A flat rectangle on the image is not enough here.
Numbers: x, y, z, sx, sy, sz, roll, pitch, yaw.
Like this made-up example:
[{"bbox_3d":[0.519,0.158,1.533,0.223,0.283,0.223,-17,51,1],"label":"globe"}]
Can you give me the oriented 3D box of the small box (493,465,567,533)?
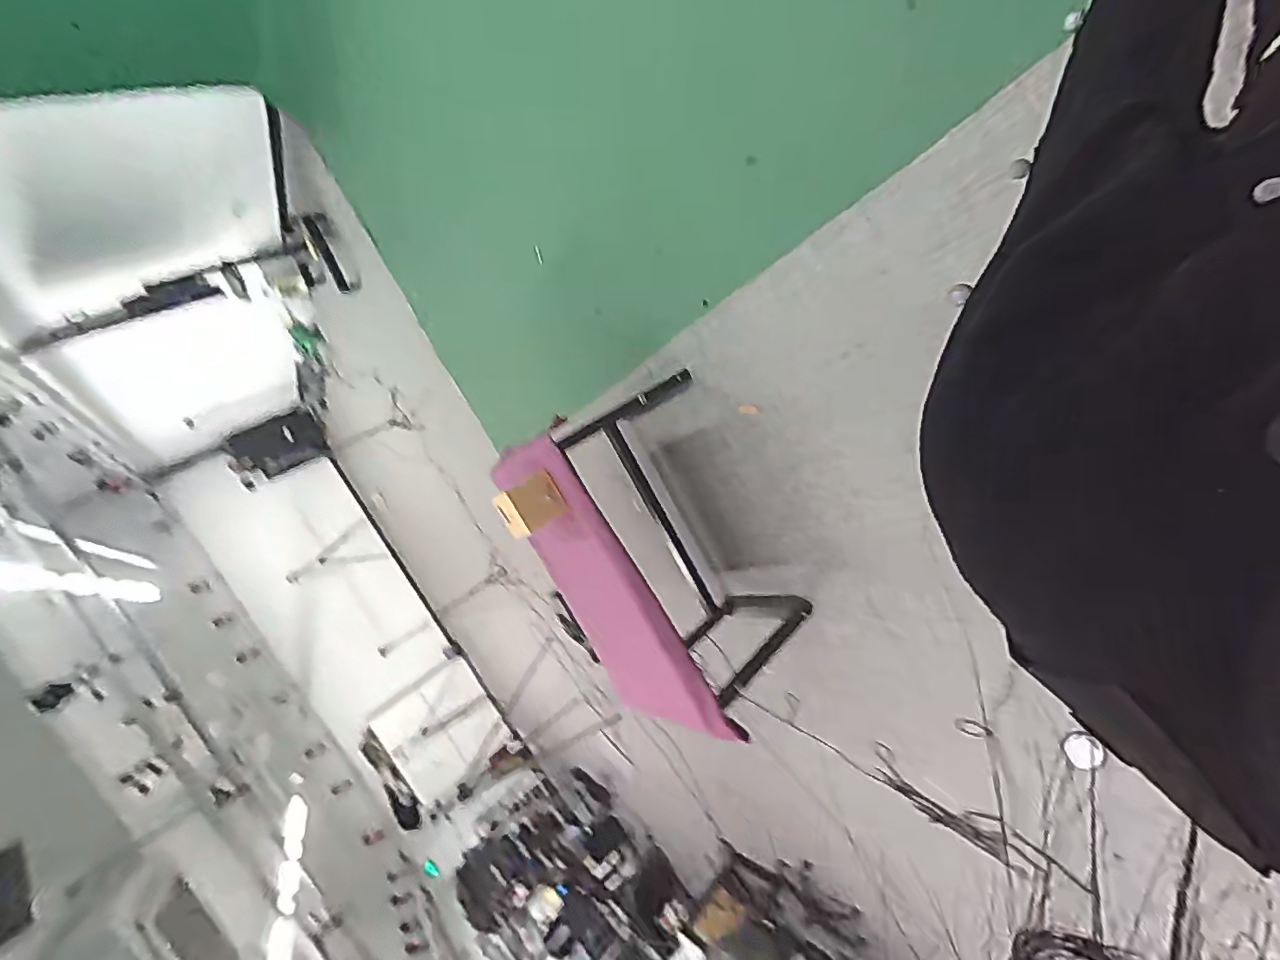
[{"bbox_3d":[-0.381,0.068,1.882,0.179,0.176,0.168,-19,104,58],"label":"small box"}]
